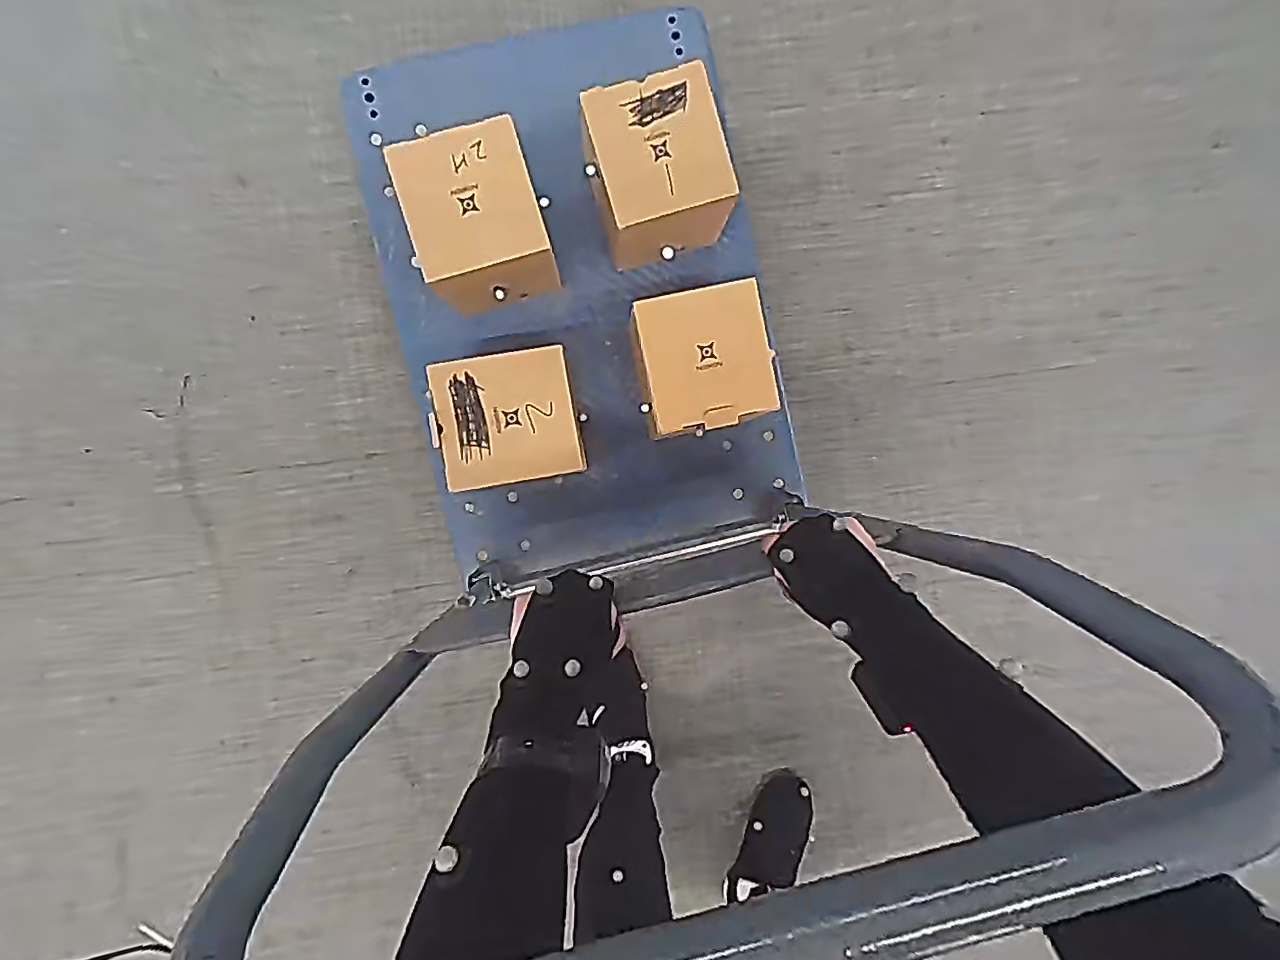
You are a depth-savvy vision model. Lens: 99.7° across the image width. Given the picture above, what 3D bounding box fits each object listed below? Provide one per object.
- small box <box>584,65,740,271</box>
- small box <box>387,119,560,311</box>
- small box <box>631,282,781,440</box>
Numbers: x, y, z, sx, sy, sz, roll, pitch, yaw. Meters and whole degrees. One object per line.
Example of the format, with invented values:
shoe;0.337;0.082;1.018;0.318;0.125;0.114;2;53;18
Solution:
small box;0.024;-0.424;0.763;0.168;0.176;0.179;-16;94;-2
small box;-0.217;-0.350;0.754;0.168;0.176;0.179;-16;93;-3
small box;0.084;-0.160;0.779;0.168;0.176;0.179;-12;93;-3
